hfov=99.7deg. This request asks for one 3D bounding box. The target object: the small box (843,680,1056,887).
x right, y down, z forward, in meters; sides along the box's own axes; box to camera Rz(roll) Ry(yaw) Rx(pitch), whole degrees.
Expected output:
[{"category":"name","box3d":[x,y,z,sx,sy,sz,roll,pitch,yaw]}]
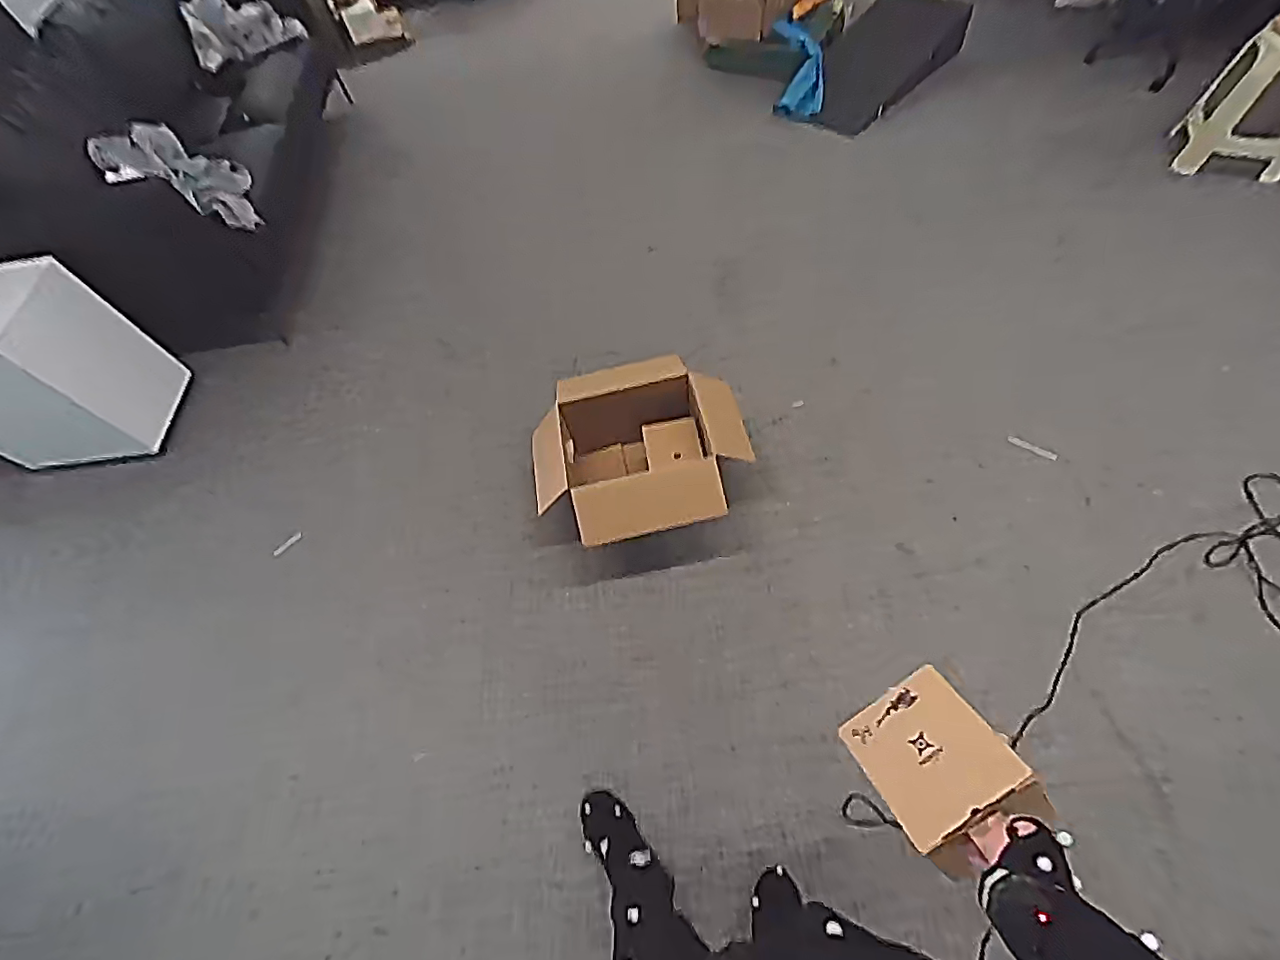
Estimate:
[{"category":"small box","box3d":[0.423,0.422,0.745,0.168,0.176,0.179,-38,31,7]}]
